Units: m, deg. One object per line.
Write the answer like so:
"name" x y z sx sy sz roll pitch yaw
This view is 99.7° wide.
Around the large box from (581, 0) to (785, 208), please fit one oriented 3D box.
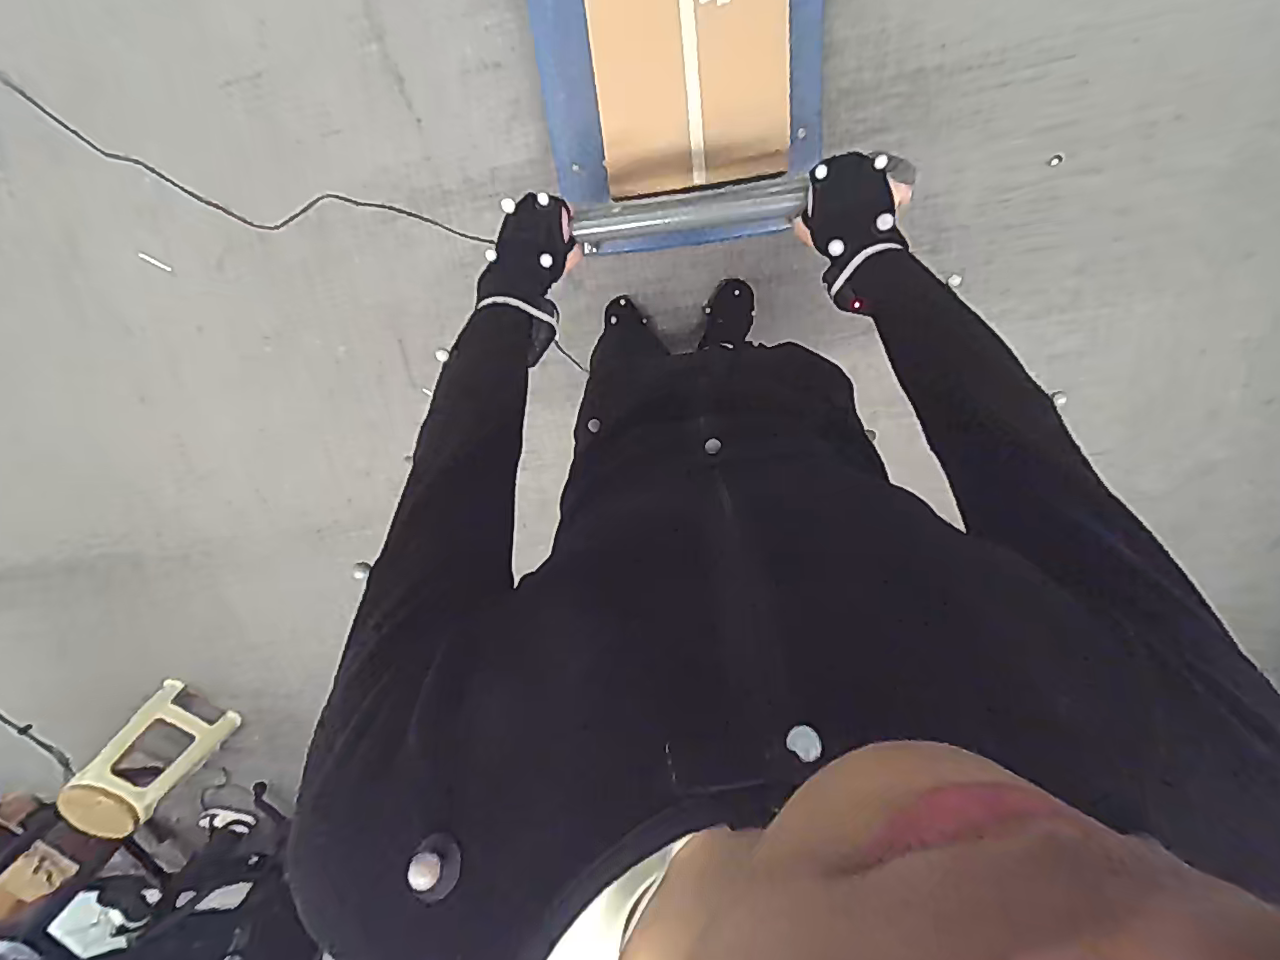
"large box" 0.085 -0.755 1.005 0.320 0.320 0.408 -5 114 7
